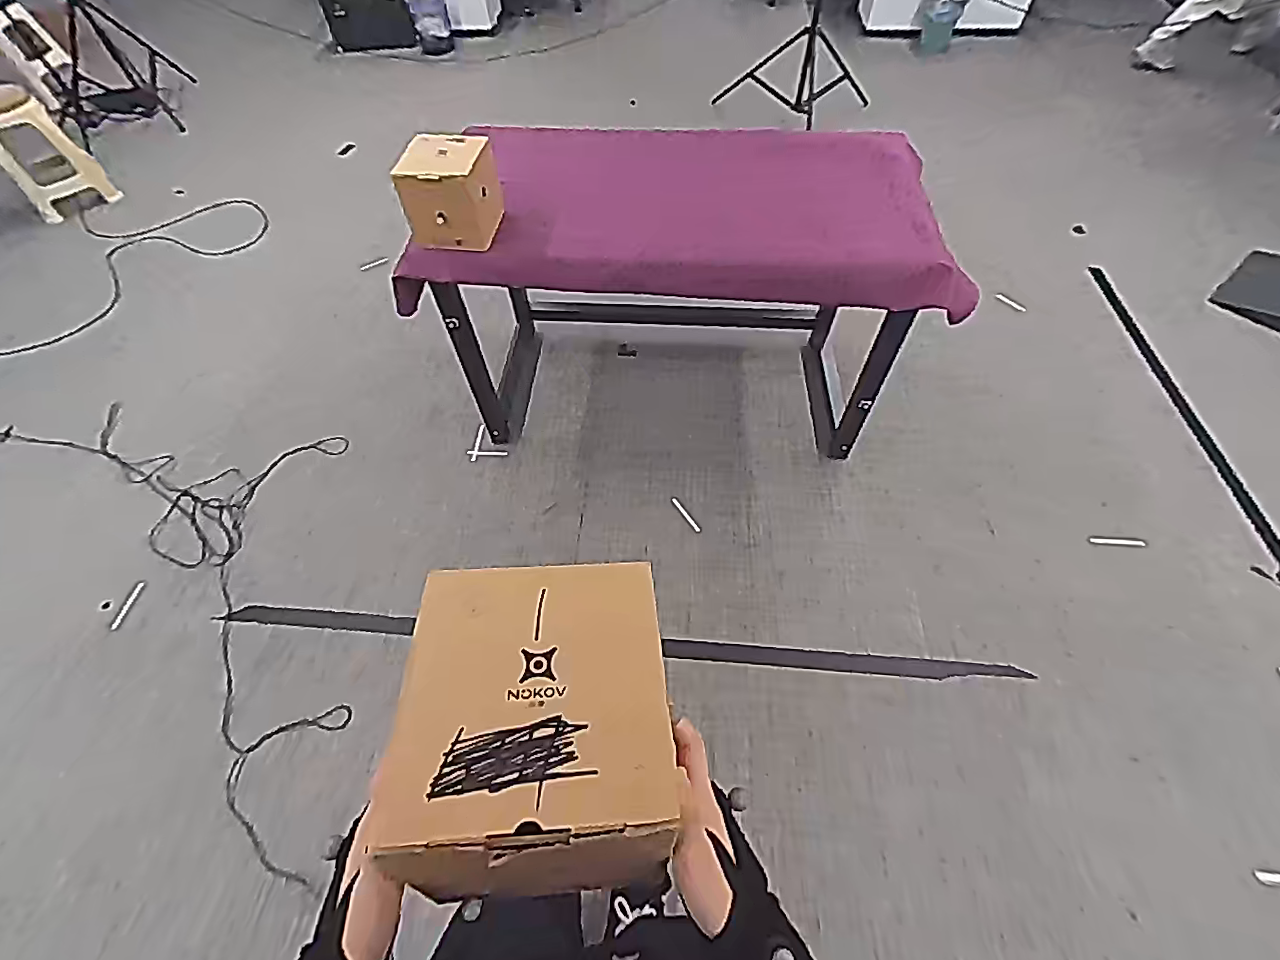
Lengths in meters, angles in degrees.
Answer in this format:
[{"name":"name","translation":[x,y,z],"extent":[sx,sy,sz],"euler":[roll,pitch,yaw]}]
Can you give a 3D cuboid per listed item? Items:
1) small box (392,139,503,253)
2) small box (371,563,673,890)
[{"name":"small box","translation":[-0.418,-0.632,1.210],"extent":[0.168,0.176,0.179],"euler":[4,57,4]},{"name":"small box","translation":[-0.070,0.184,0.403],"extent":[0.168,0.176,0.179],"euler":[-2,44,-5]}]
